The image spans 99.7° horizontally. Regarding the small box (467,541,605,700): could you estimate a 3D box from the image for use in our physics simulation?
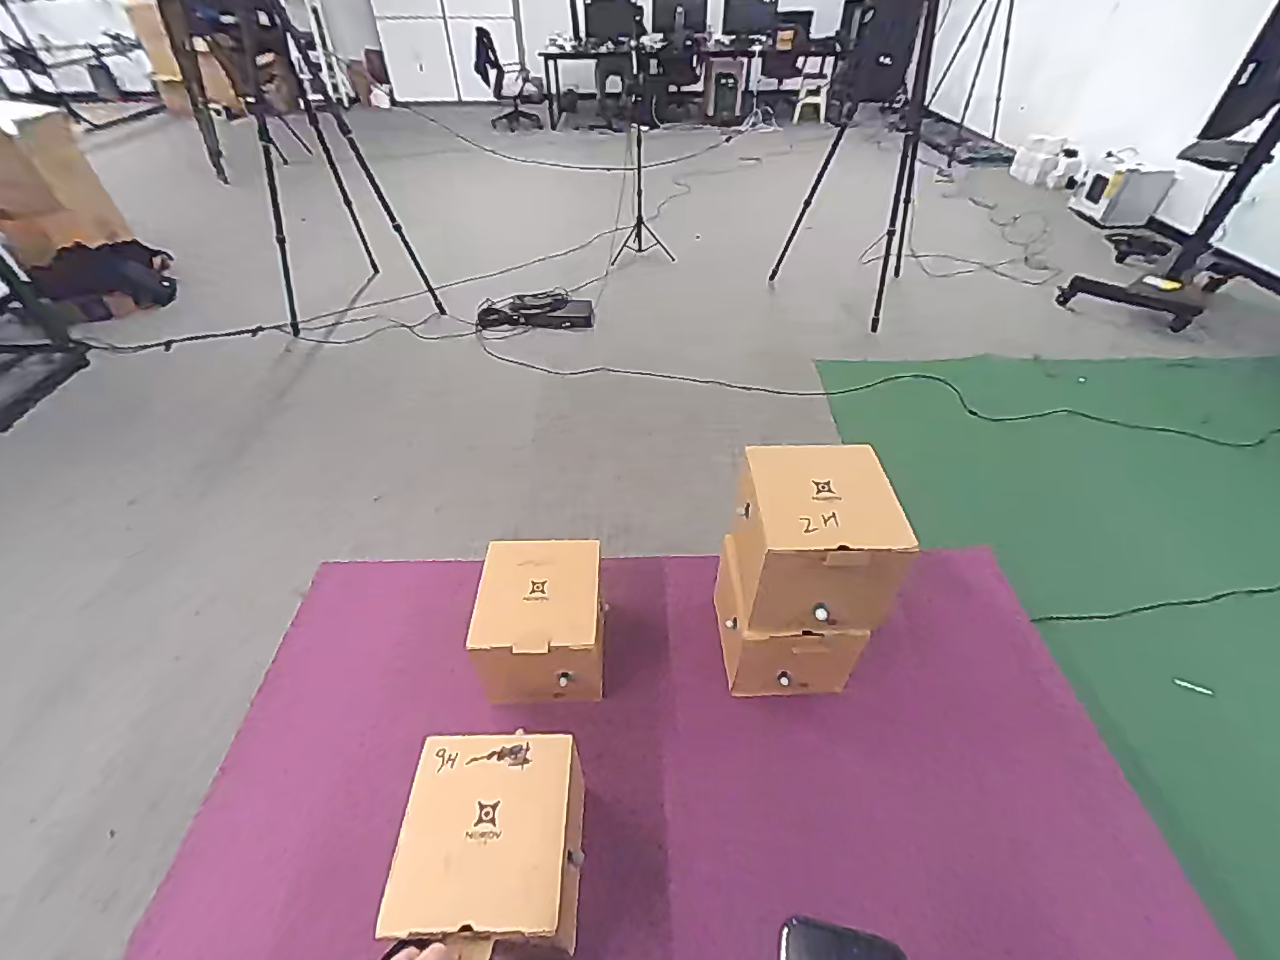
[{"bbox_3d":[-0.138,0.209,0.797,0.168,0.176,0.179,0,44,-1],"label":"small box"}]

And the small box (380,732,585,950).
[{"bbox_3d":[-0.152,0.400,0.598,0.168,0.176,0.179,-1,44,0],"label":"small box"}]

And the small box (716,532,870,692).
[{"bbox_3d":[0.211,0.194,0.806,0.168,0.176,0.179,-3,45,-2],"label":"small box"}]

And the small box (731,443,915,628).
[{"bbox_3d":[0.215,0.070,0.696,0.168,0.176,0.179,-1,45,0],"label":"small box"}]
